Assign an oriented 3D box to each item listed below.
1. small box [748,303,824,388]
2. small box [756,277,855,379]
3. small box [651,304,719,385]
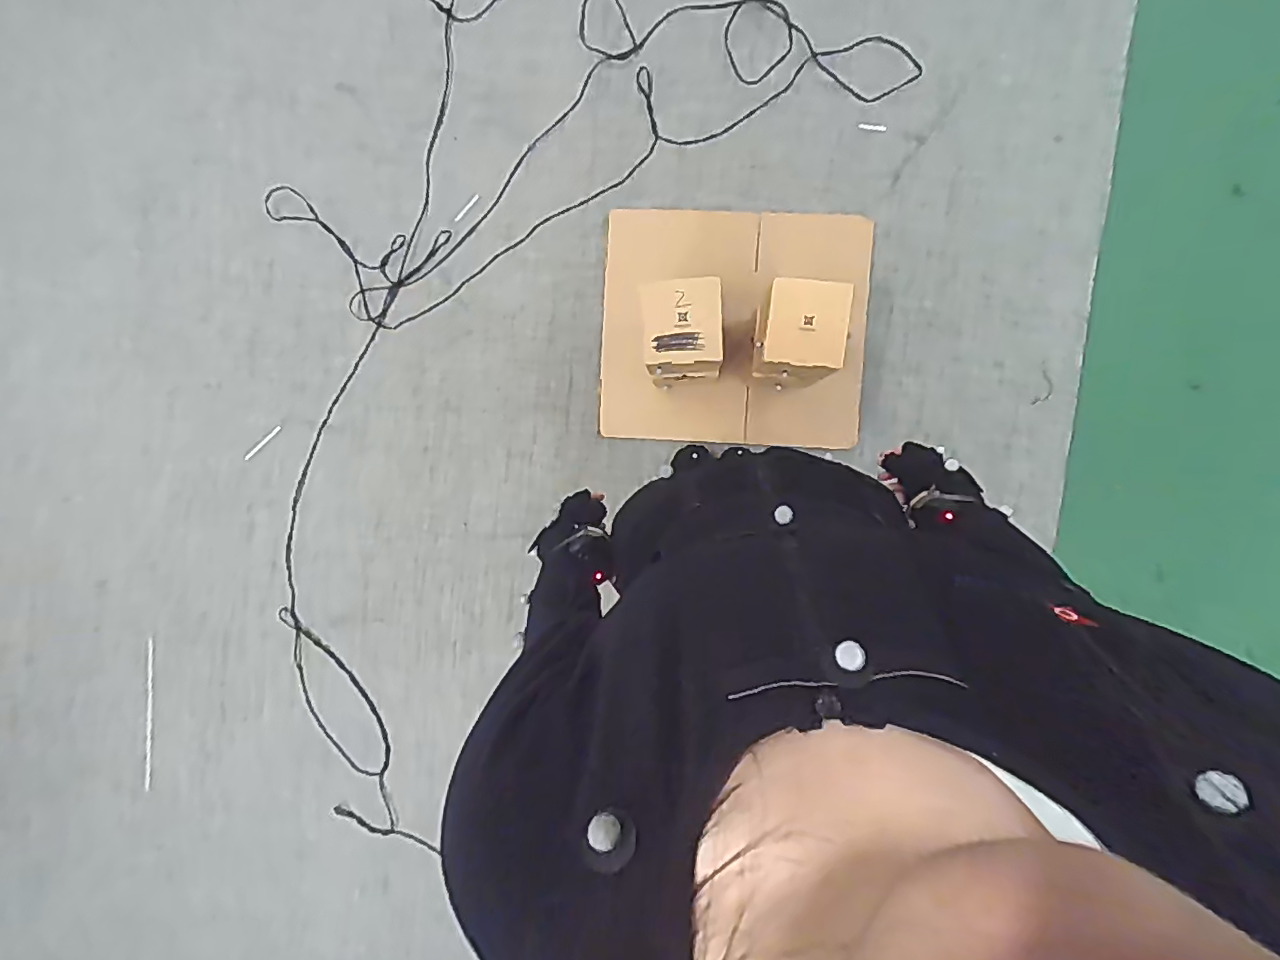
[{"bbox_3d":[0.365,-0.330,1.351,0.168,0.176,0.179,4,94,6],"label":"small box"},{"bbox_3d":[0.354,-0.327,1.189,0.168,0.176,0.179,7,95,4],"label":"small box"},{"bbox_3d":[0.115,-0.334,1.367,0.168,0.176,0.179,-1,93,4],"label":"small box"}]
